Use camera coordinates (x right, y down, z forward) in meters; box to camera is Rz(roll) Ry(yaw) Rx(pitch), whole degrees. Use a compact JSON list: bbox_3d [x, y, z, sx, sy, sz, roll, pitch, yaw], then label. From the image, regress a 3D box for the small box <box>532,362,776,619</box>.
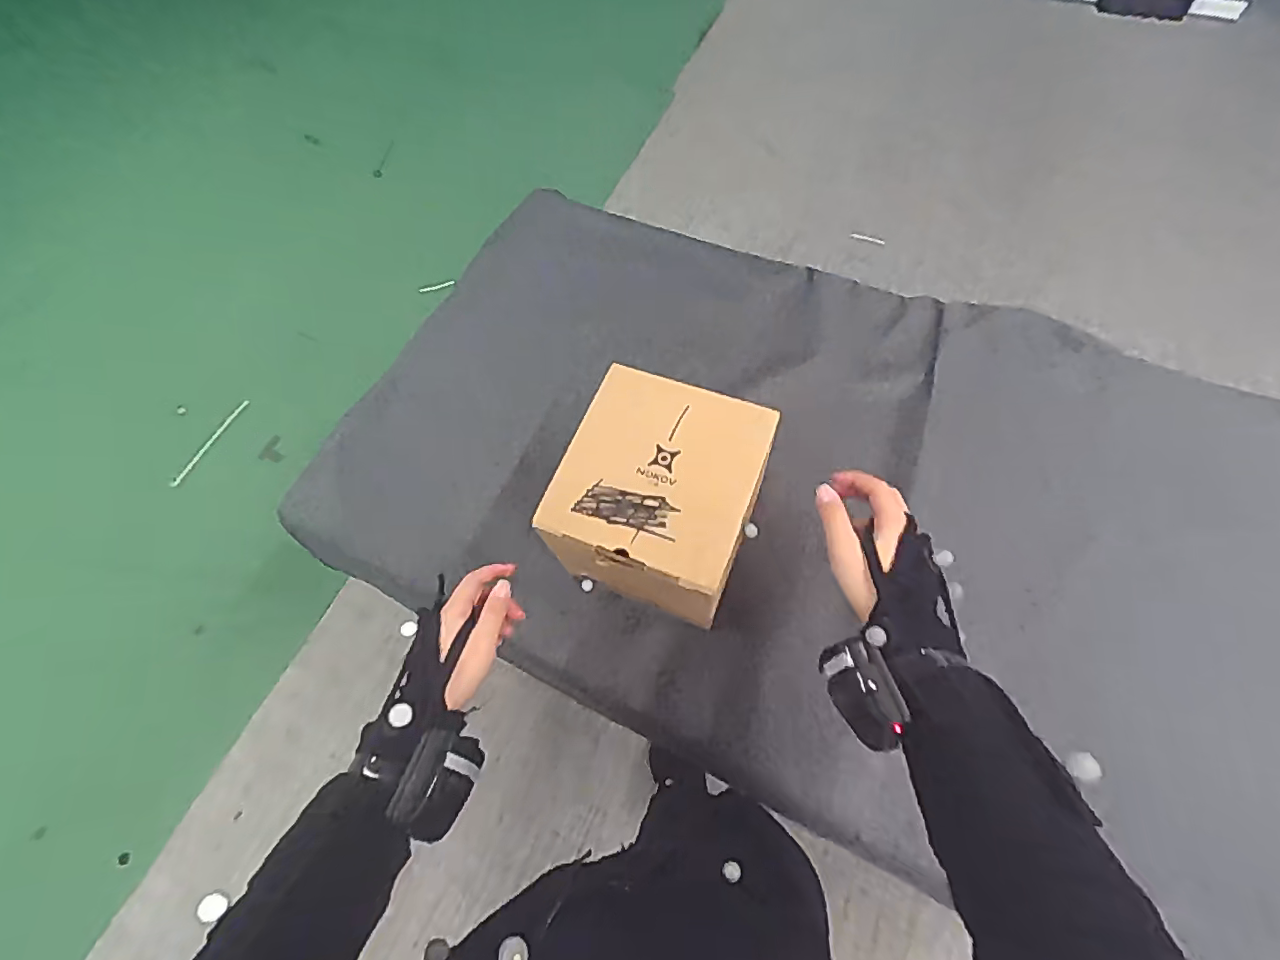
[{"bbox_3d":[0.022,0.020,0.537,0.168,0.176,0.179,20,68,13],"label":"small box"}]
